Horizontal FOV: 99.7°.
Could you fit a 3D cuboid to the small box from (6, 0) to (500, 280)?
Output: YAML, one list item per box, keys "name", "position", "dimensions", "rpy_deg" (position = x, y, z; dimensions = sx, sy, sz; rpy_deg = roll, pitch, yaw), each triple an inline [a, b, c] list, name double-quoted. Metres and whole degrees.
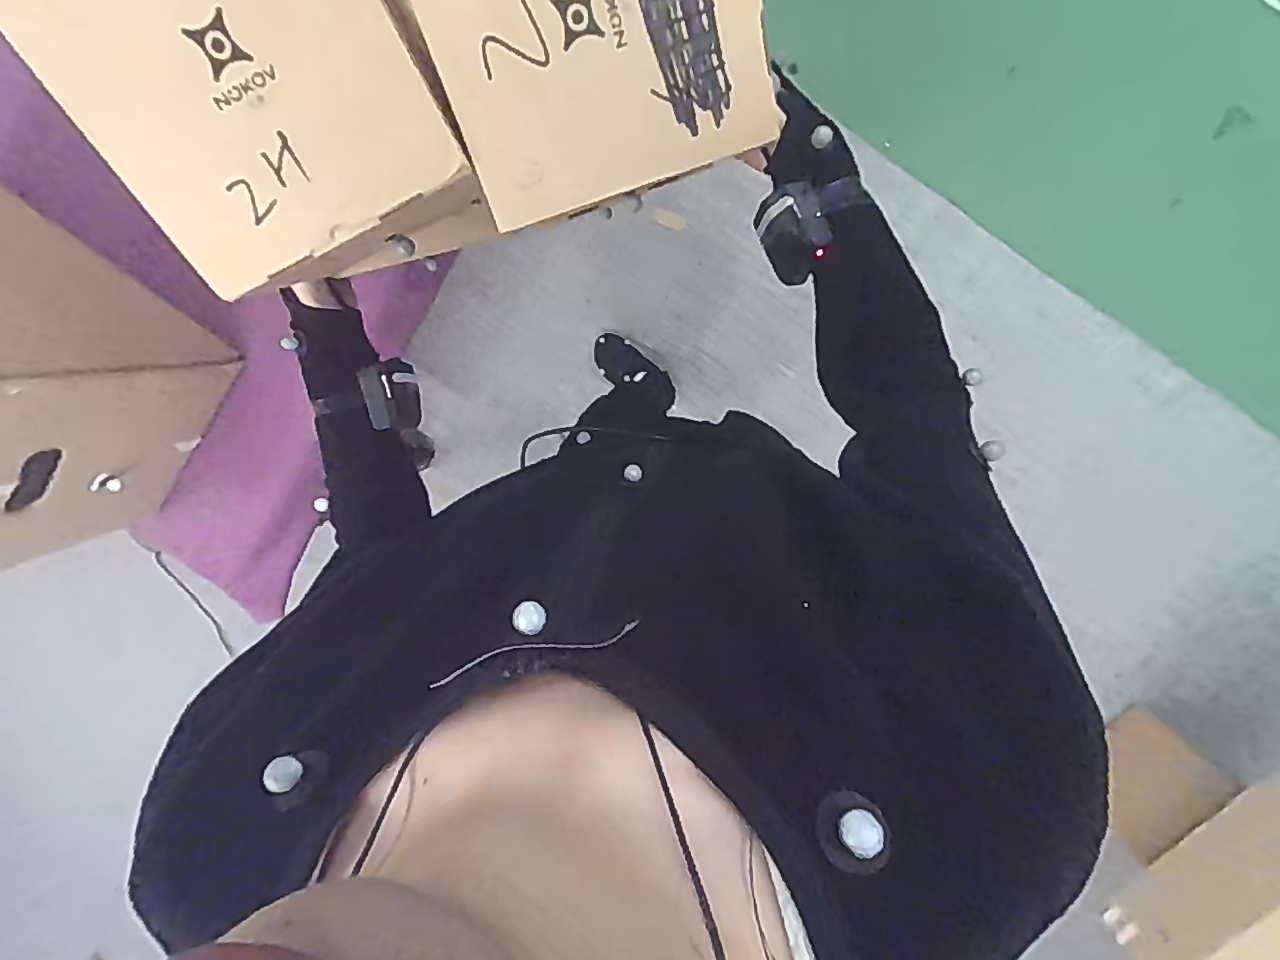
- name: "small box"
  position: [-0.206, -0.246, 0.335]
  dimensions: [0.168, 0.176, 0.179]
  rpy_deg: [-24, 116, 5]
